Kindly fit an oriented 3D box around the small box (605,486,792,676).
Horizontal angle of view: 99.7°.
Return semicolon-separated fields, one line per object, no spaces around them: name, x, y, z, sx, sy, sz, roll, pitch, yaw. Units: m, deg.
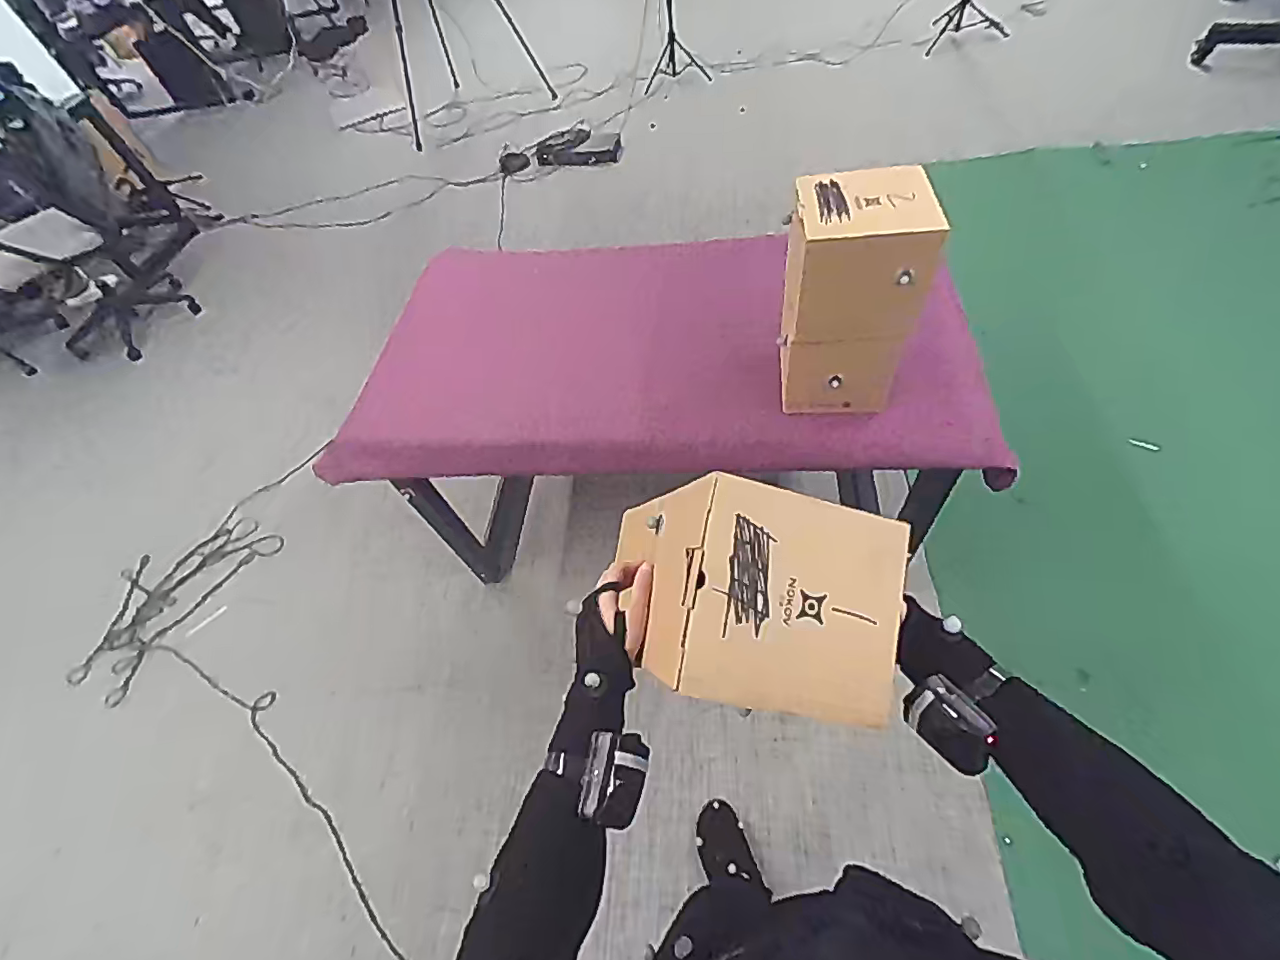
small box;0.060;0.119;0.650;0.168;0.176;0.179;13;78;-11

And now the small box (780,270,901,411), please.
small box;0.332;-0.232;0.926;0.168;0.176;0.179;1;54;11
